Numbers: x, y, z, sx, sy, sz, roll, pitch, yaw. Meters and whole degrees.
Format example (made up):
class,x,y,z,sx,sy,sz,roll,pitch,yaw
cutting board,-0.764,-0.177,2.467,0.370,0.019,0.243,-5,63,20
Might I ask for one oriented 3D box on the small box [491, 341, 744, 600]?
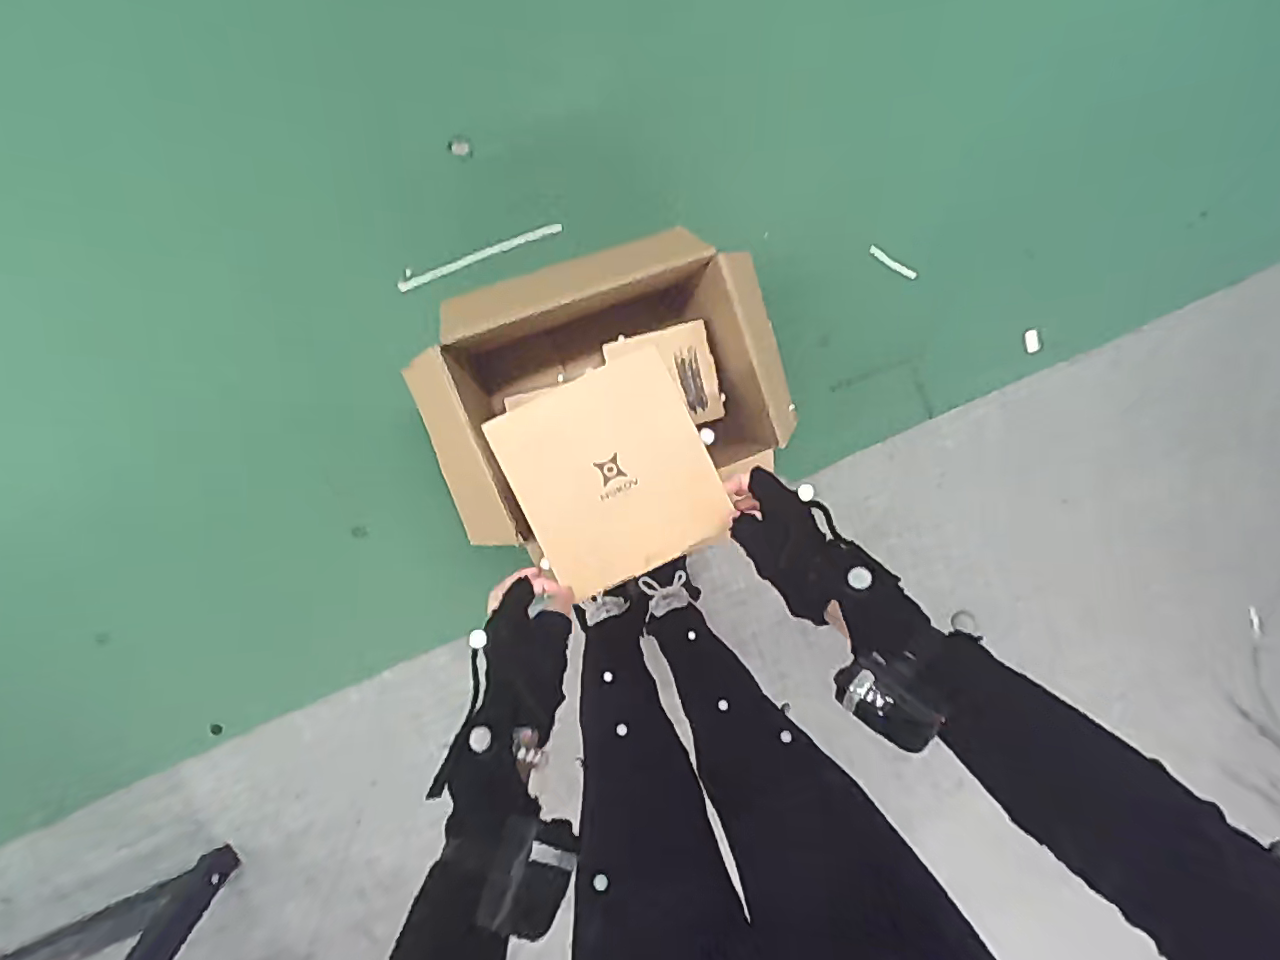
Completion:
class,x,y,z,sx,sy,sz,roll,pitch,yaw
small box,-0.022,-0.010,0.535,0.168,0.176,0.179,-25,94,-1
